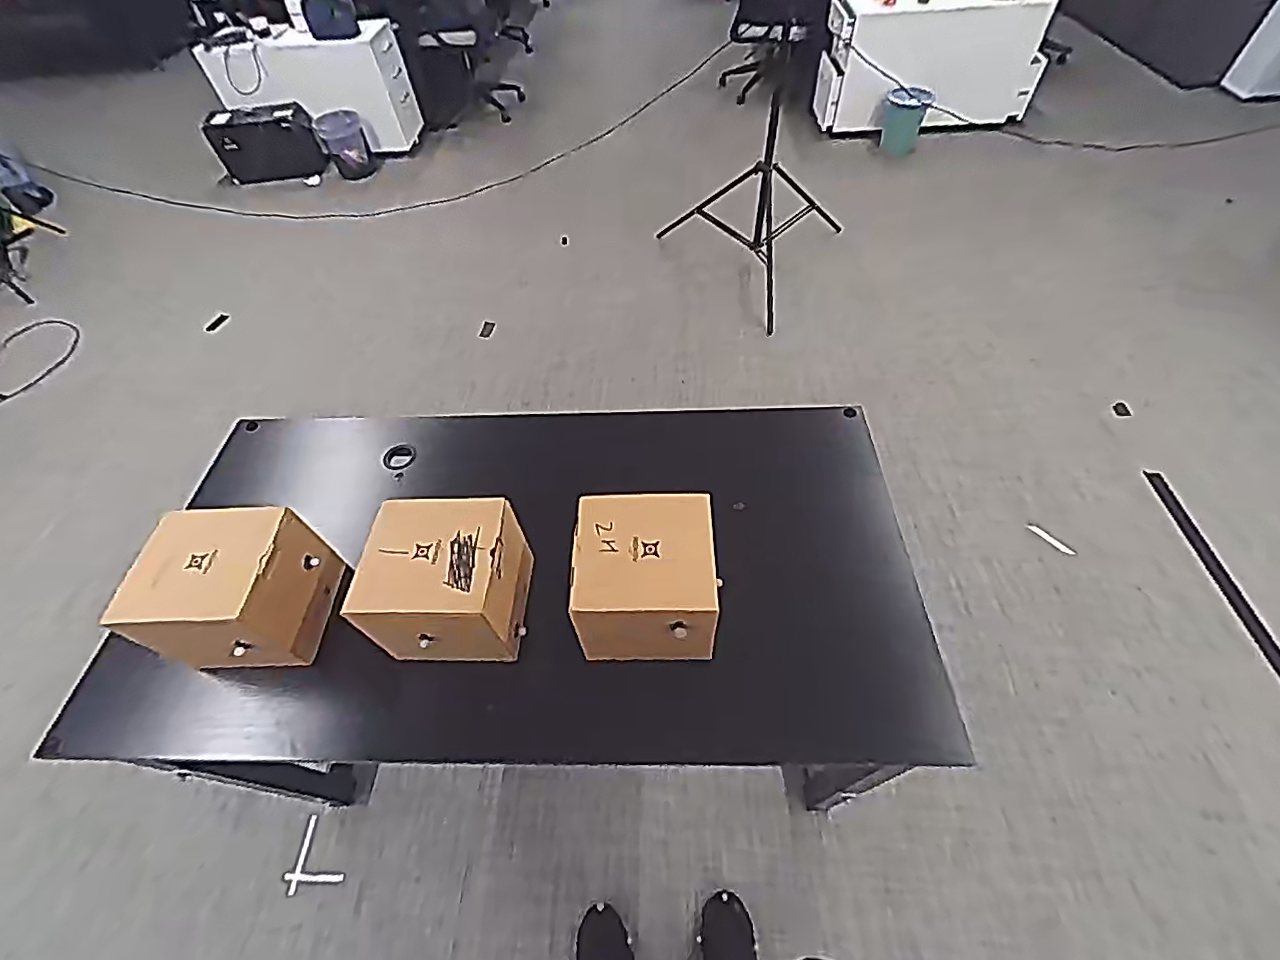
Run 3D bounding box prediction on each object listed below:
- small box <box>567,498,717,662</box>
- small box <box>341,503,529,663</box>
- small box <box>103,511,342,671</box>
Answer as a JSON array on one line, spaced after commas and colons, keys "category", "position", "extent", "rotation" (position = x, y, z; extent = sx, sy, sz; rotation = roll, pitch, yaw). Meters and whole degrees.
[{"category": "small box", "position": [0.007, 0.139, 0.735], "extent": [0.179, 0.176, 0.168], "rotation": [-2, 52, 3]}, {"category": "small box", "position": [-0.263, 0.146, 0.748], "extent": [0.179, 0.176, 0.168], "rotation": [-1, 53, 4]}, {"category": "small box", "position": [-0.558, 0.160, 0.758], "extent": [0.179, 0.176, 0.168], "rotation": [-3, 52, 2]}]
